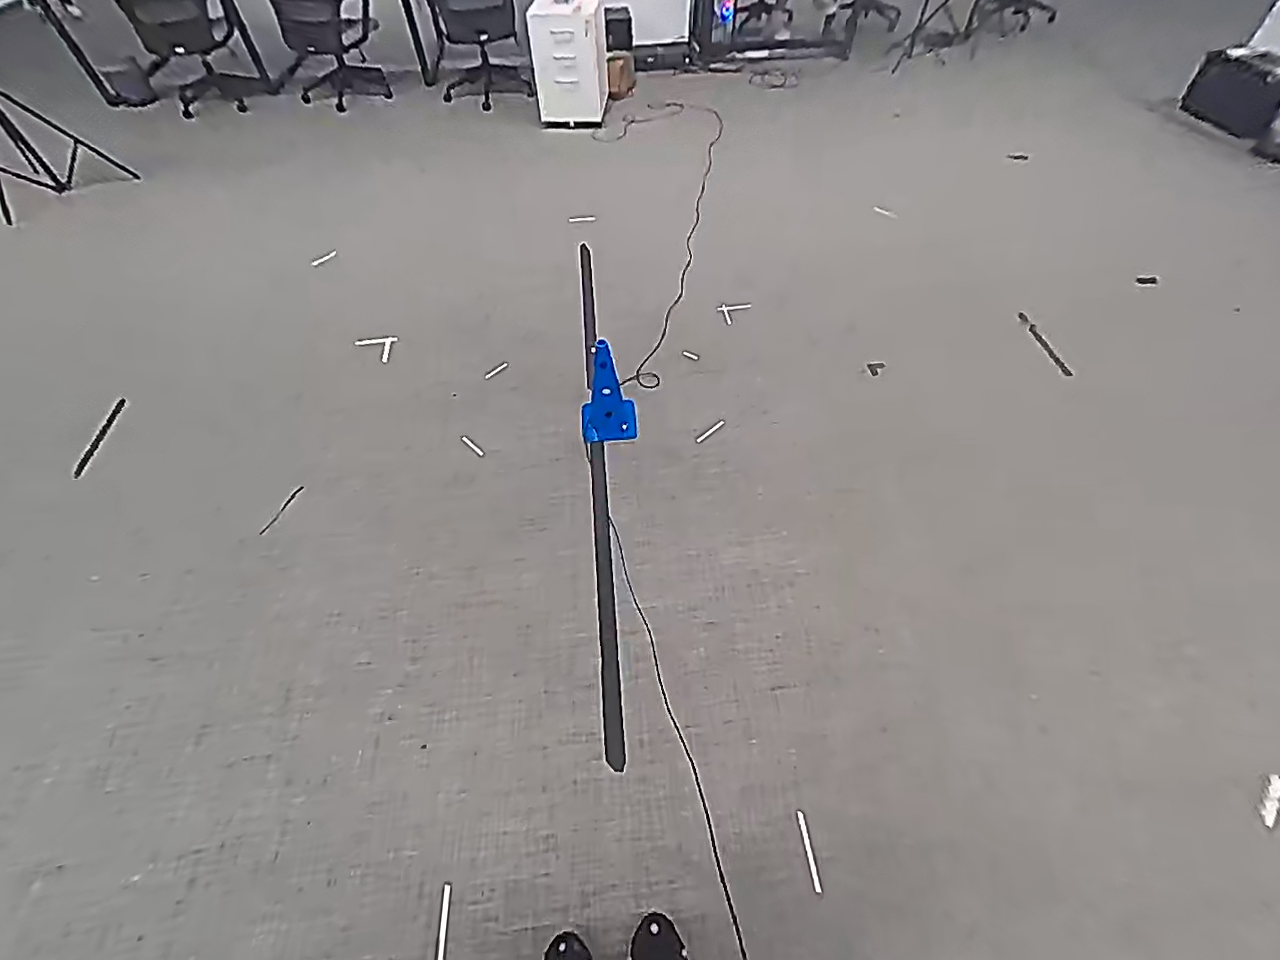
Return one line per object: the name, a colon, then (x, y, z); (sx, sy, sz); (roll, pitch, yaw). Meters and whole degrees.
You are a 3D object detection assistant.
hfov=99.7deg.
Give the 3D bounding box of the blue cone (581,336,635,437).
blue cone: (-0.122, -0.336, 1.853); (0.193, 0.380, 0.192); (-6, 52, -4)
